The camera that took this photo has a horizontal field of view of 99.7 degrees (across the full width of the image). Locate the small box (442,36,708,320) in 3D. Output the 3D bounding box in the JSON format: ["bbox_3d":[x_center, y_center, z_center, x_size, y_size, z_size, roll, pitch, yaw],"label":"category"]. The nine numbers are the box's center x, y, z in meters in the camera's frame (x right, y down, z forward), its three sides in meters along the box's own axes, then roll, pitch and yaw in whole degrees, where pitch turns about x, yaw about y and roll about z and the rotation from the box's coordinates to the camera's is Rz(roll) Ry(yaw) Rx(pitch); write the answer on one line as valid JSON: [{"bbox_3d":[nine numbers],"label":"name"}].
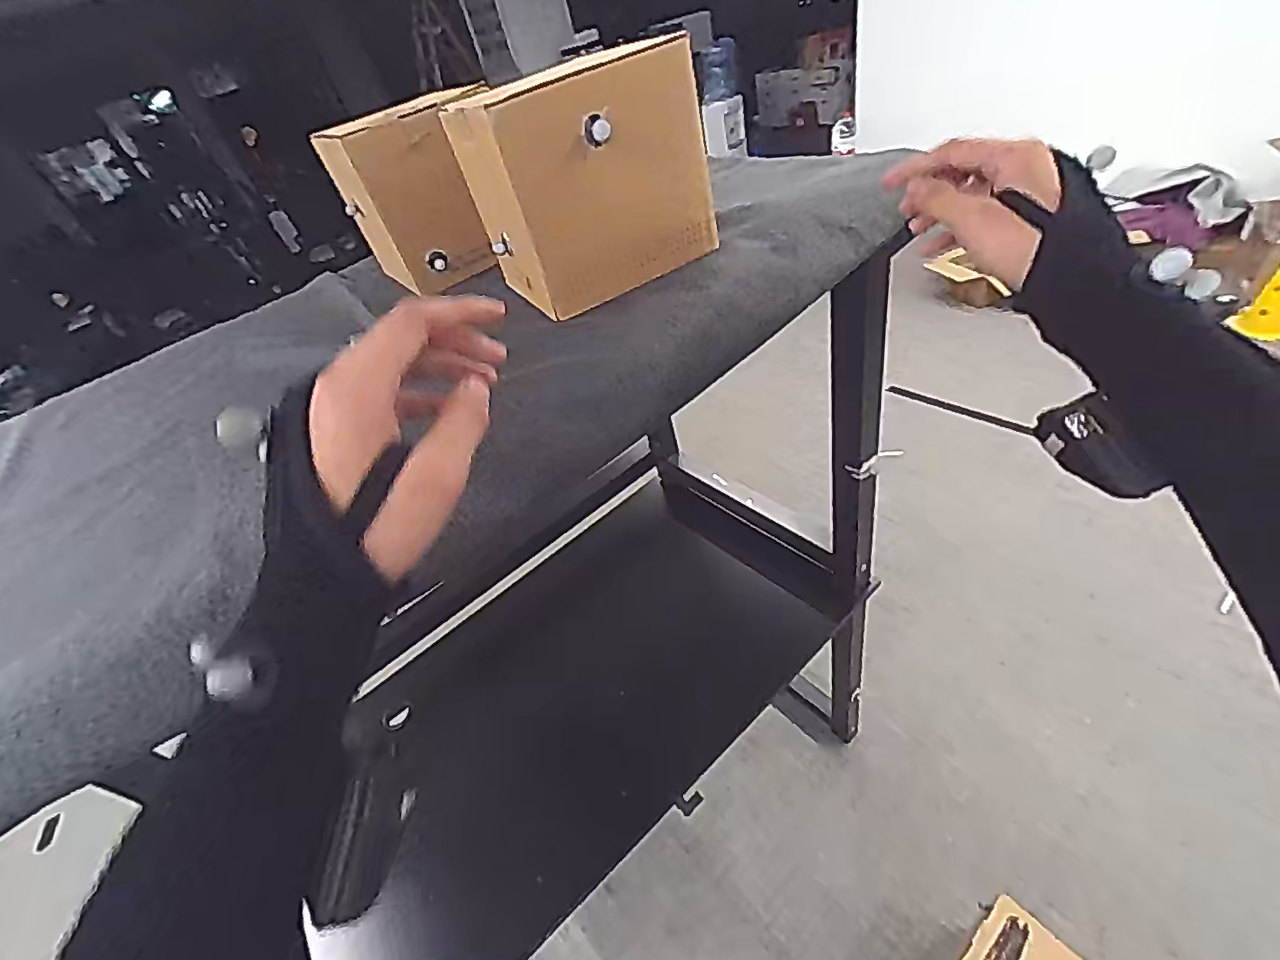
[{"bbox_3d":[-0.051,-0.277,0.503,0.179,0.176,0.168,-30,40,-12],"label":"small box"}]

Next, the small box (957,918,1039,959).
[{"bbox_3d":[0.703,1.009,1.046,0.179,0.176,0.168,-39,45,-22],"label":"small box"}]

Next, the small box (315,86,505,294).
[{"bbox_3d":[-0.251,-0.345,0.653,0.168,0.176,0.179,-35,42,-18],"label":"small box"}]
